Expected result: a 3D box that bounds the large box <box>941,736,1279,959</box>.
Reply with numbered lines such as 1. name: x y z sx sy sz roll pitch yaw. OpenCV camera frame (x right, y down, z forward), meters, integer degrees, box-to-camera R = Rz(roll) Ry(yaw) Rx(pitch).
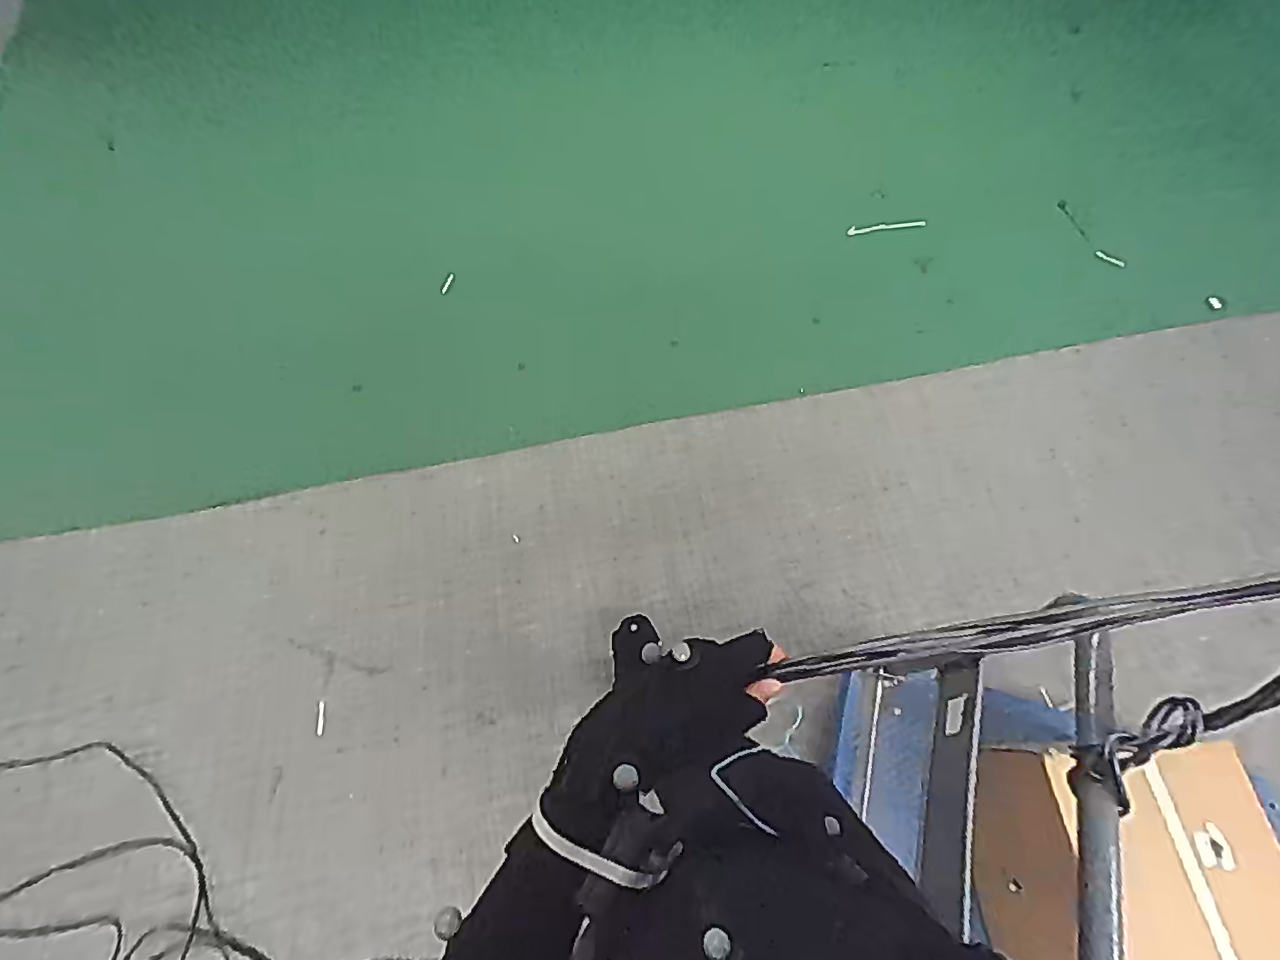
1. large box: 0.783 0.665 0.908 0.320 0.320 0.408 -2 63 -3
